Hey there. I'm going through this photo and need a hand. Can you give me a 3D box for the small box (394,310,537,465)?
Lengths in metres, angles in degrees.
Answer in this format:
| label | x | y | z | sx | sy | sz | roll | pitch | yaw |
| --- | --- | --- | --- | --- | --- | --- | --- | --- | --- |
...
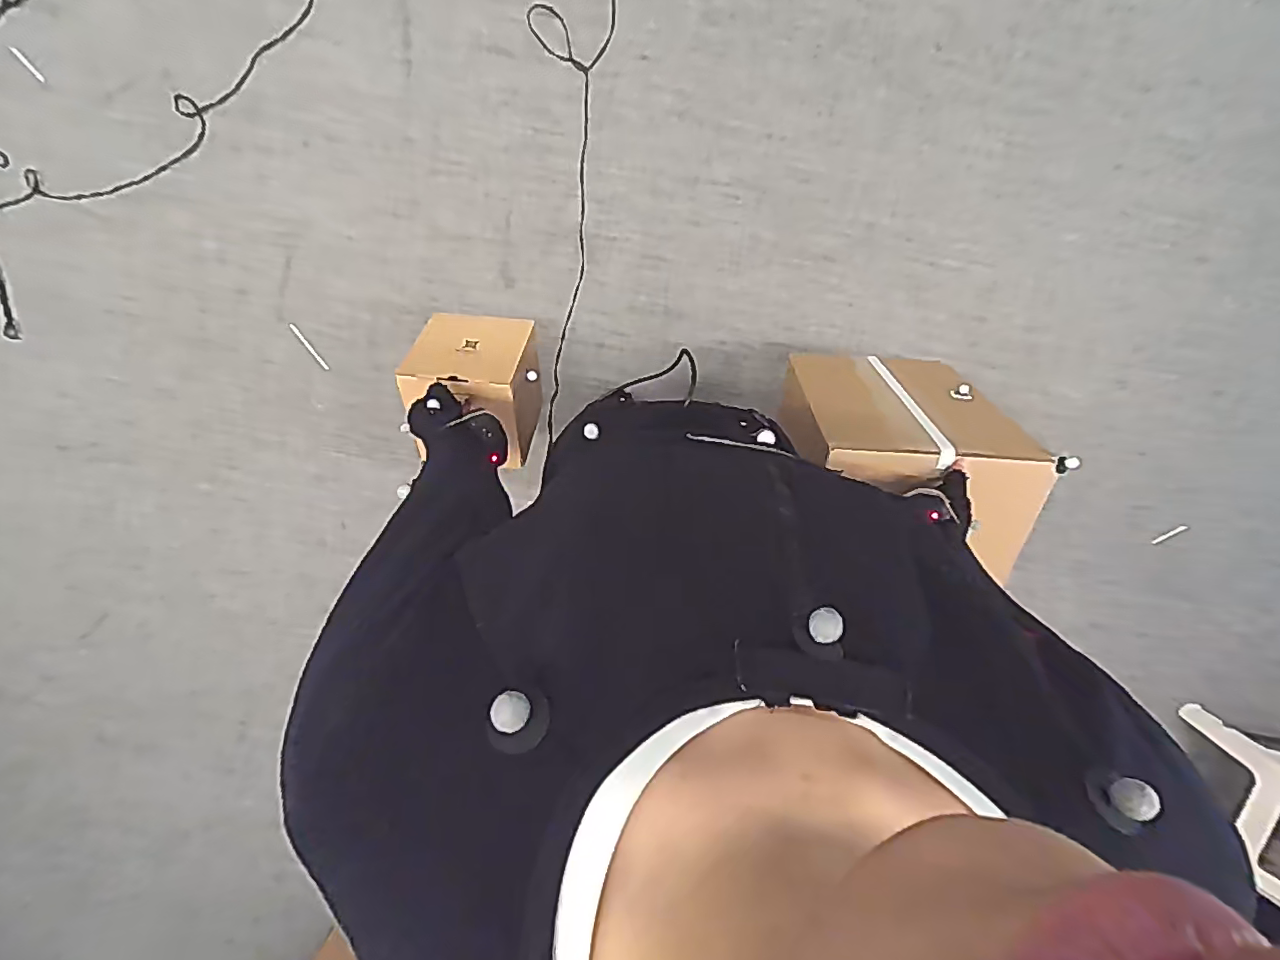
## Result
| label | x | y | z | sx | sy | sz | roll | pitch | yaw |
| --- | --- | --- | --- | --- | --- | --- | --- | --- | --- |
| small box | -0.265 | -0.149 | 0.871 | 0.168 | 0.179 | 0.176 | 5 | 137 | 0 |
